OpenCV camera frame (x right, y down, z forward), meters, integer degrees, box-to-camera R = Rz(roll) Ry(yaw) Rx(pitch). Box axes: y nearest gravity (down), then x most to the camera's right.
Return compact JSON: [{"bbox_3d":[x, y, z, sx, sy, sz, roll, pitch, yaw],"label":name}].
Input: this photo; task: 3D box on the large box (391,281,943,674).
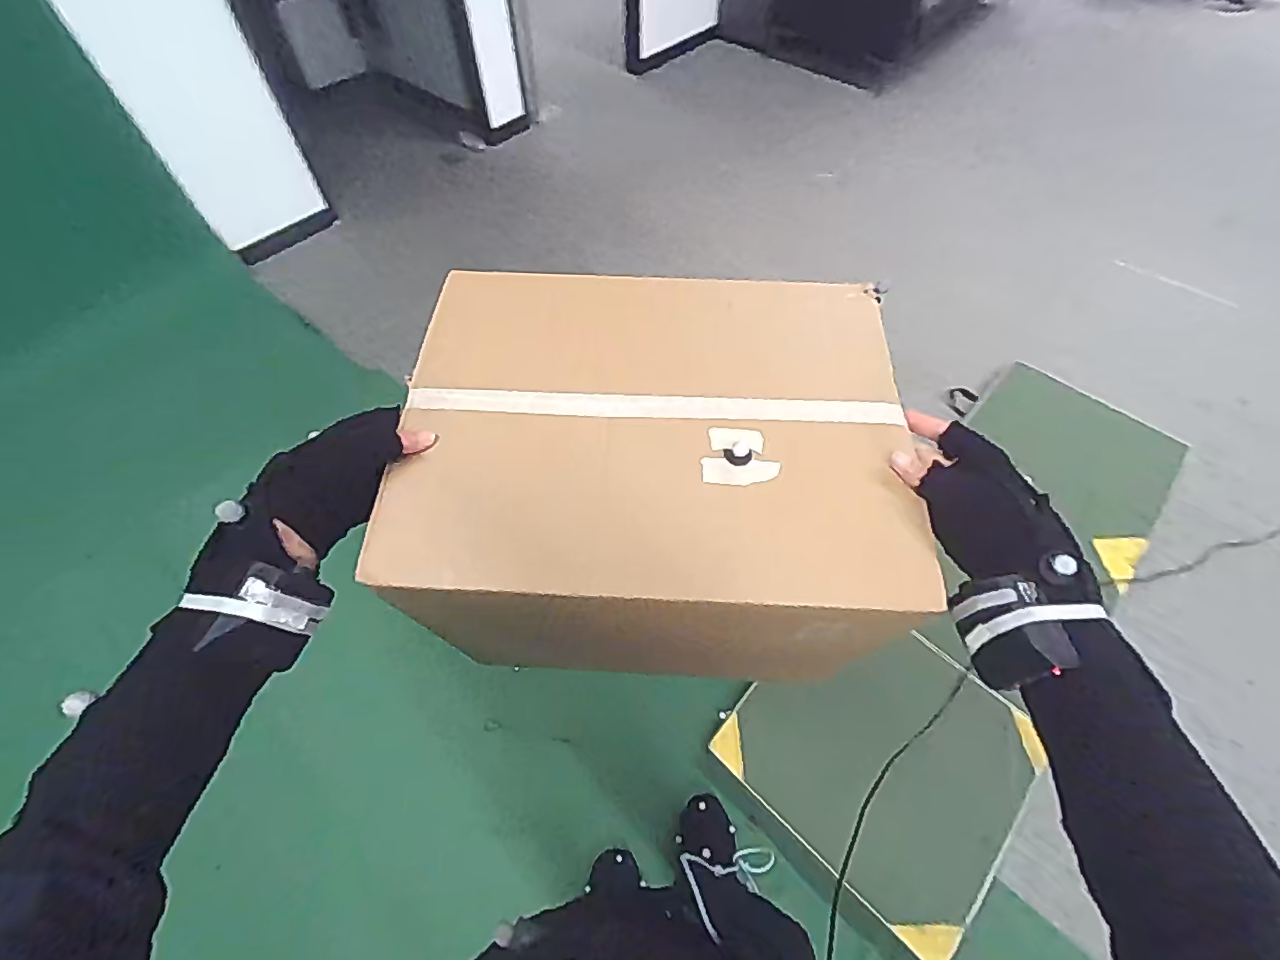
[{"bbox_3d":[0.022,0.017,0.585,0.408,0.320,0.320,3,61,1],"label":"large box"}]
